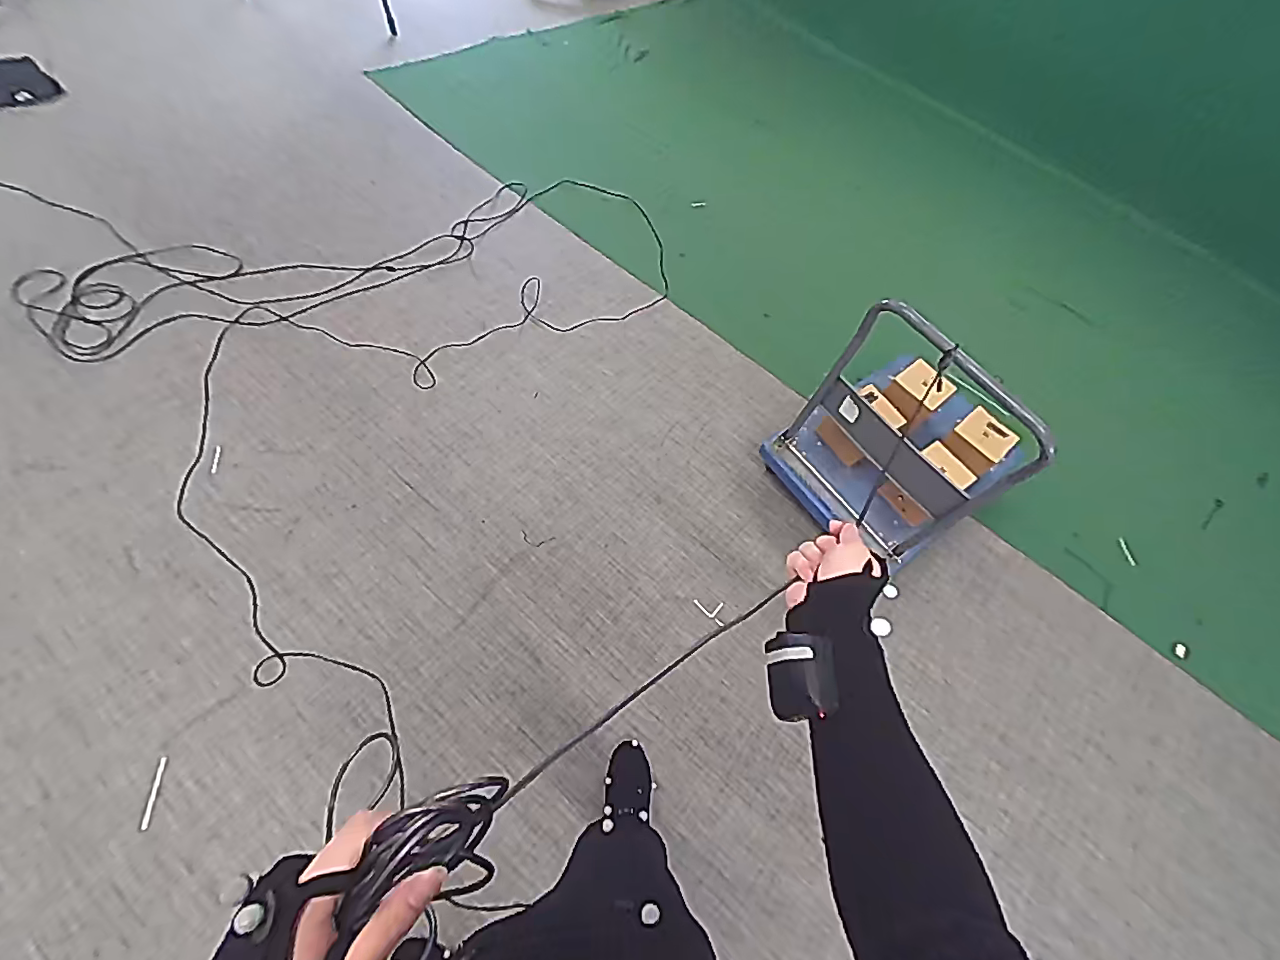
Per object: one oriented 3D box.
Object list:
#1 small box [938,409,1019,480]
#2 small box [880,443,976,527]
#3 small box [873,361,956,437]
[{"bbox_3d":[1.121,-0.104,1.833,0.179,0.176,0.168,-34,70,-26],"label":"small box"},{"bbox_3d":[0.908,0.019,1.720,0.179,0.176,0.168,-29,69,-24],"label":"small box"},{"bbox_3d":[0.957,-0.281,1.907,0.179,0.176,0.168,-34,72,-26],"label":"small box"}]
